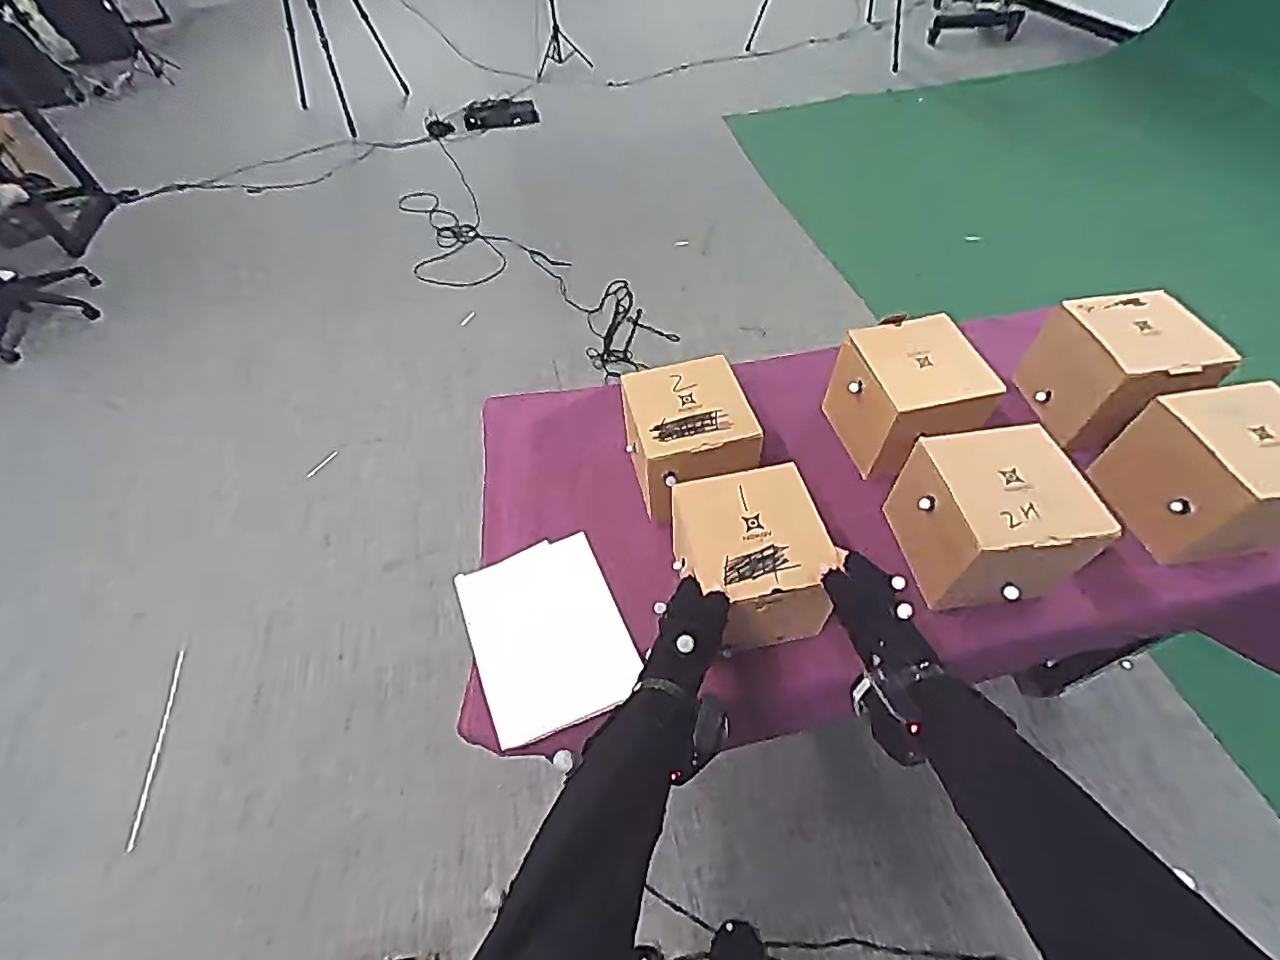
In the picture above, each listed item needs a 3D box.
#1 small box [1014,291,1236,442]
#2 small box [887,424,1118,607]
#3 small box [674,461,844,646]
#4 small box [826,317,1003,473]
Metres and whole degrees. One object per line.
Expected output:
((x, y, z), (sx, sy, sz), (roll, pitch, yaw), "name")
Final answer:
((0.758, -0.175, 0.872), (0.168, 0.176, 0.179), (-5, 54, 0), "small box")
((0.460, 0.050, 0.727), (0.168, 0.176, 0.179), (-7, 53, -1), "small box")
((0.142, 0.104, 0.709), (0.168, 0.176, 0.179), (-9, 53, -2), "small box")
((0.421, -0.127, 0.865), (0.168, 0.176, 0.179), (-12, 53, -4), "small box")
